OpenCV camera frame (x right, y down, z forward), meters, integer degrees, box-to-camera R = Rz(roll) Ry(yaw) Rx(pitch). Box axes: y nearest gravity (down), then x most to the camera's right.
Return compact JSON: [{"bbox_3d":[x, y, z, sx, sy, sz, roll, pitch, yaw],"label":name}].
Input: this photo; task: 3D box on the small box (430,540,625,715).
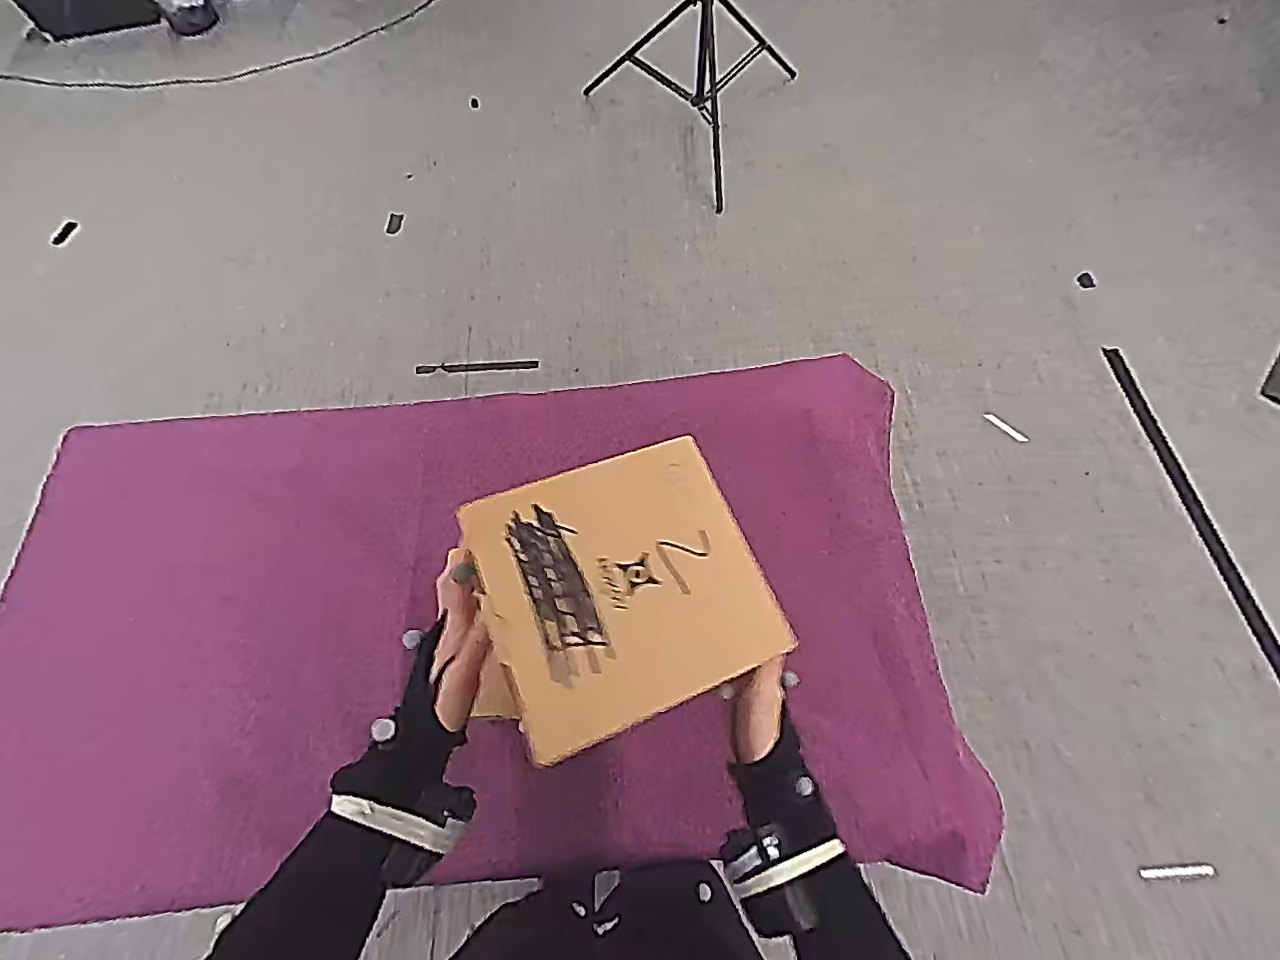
[{"bbox_3d":[-0.110,0.173,0.610,0.179,0.176,0.168,-2,66,0],"label":"small box"}]
